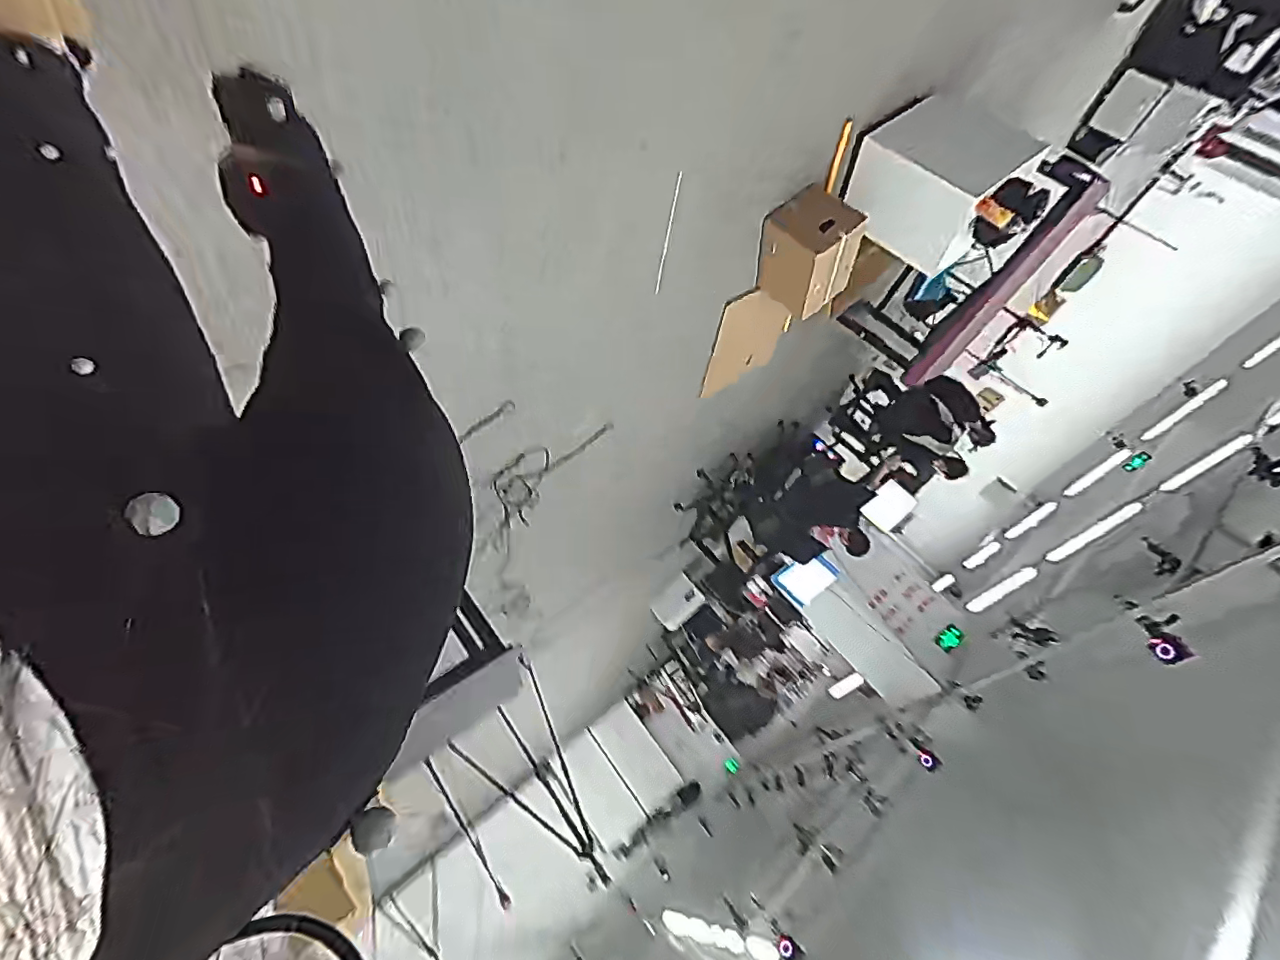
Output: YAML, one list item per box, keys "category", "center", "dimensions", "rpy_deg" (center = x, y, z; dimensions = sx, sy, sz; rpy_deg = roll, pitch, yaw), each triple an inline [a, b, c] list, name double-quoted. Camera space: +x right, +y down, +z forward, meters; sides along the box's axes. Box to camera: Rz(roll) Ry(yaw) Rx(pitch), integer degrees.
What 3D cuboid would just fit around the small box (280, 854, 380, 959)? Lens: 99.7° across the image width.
- category: "small box"
  center: [-0.899, 1.227, 1.575]
  dimensions: [0.179, 0.176, 0.168]
  rpy_deg: [-32, 156, -26]
